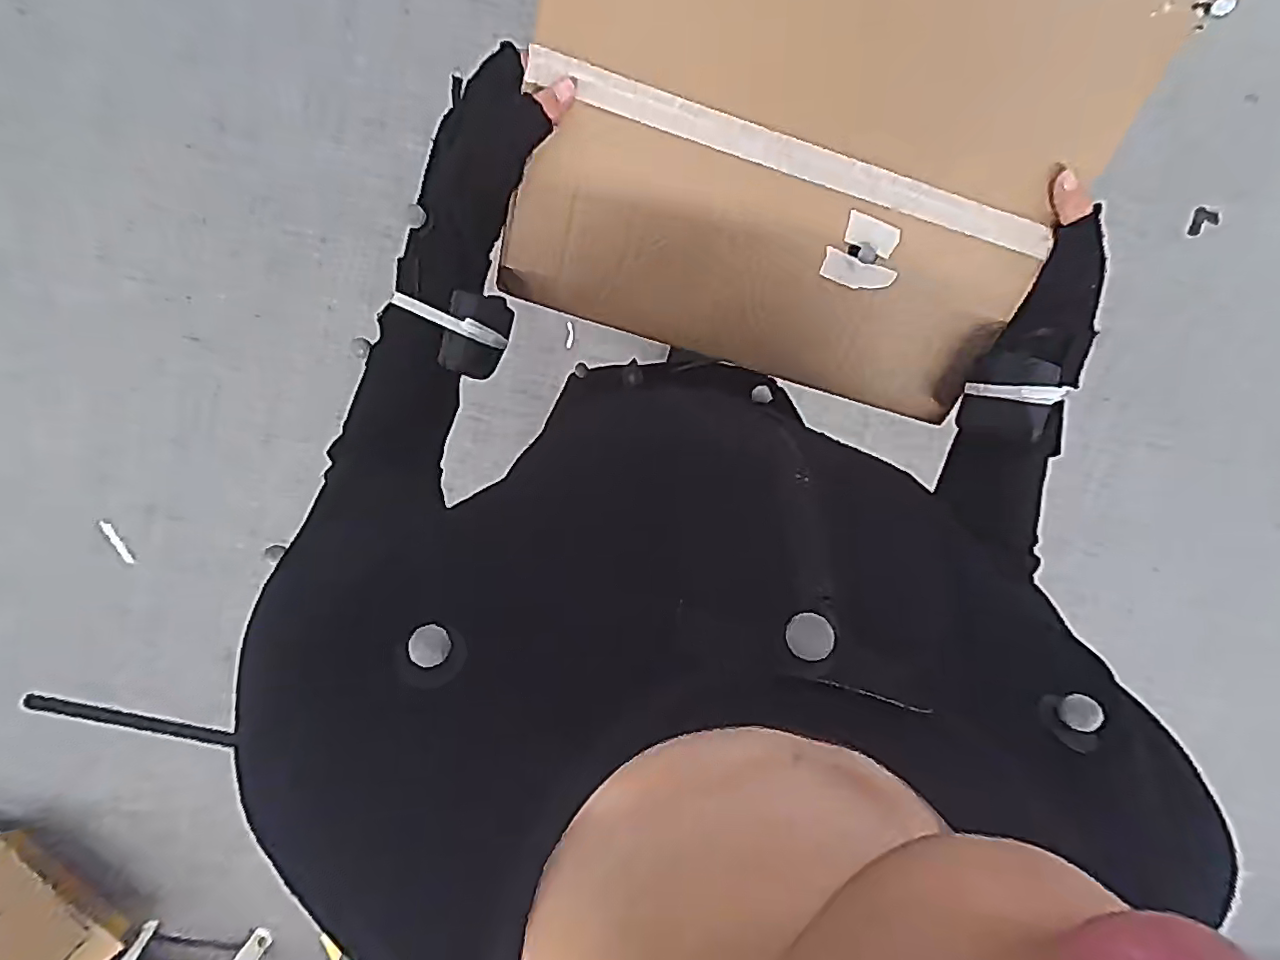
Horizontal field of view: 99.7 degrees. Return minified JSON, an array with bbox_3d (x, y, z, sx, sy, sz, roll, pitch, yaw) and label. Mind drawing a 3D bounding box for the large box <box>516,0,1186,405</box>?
[{"bbox_3d":[0.128,-0.318,0.528,0.408,0.320,0.320,15,122,-7],"label":"large box"}]
